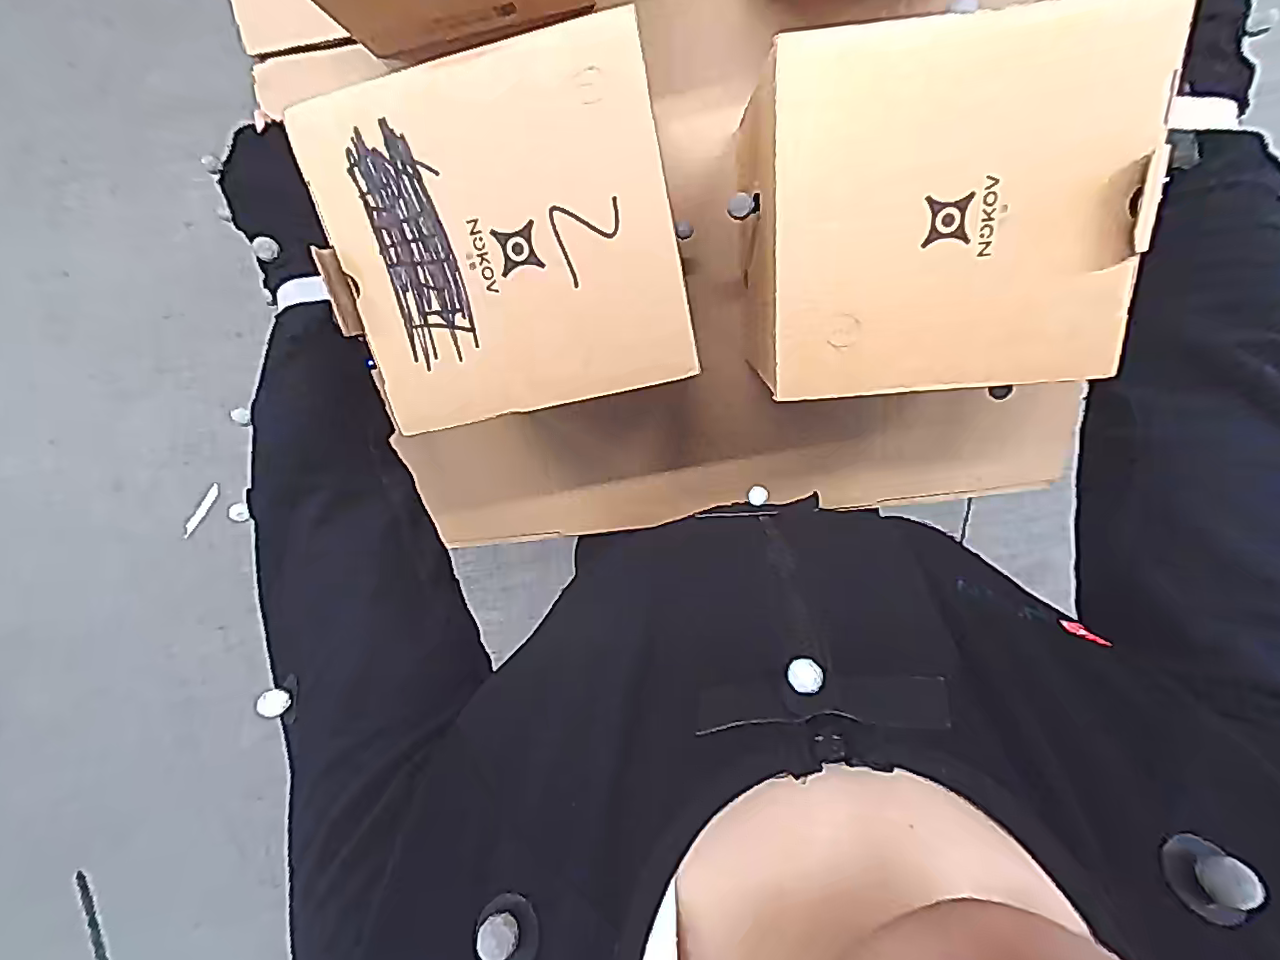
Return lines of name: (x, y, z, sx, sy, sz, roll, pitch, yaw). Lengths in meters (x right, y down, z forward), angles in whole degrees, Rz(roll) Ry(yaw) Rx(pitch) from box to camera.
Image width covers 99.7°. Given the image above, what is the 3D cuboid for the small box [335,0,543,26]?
small box: (-0.130, -0.376, 0.276, 0.168, 0.176, 0.179, -8, 106, 5)
